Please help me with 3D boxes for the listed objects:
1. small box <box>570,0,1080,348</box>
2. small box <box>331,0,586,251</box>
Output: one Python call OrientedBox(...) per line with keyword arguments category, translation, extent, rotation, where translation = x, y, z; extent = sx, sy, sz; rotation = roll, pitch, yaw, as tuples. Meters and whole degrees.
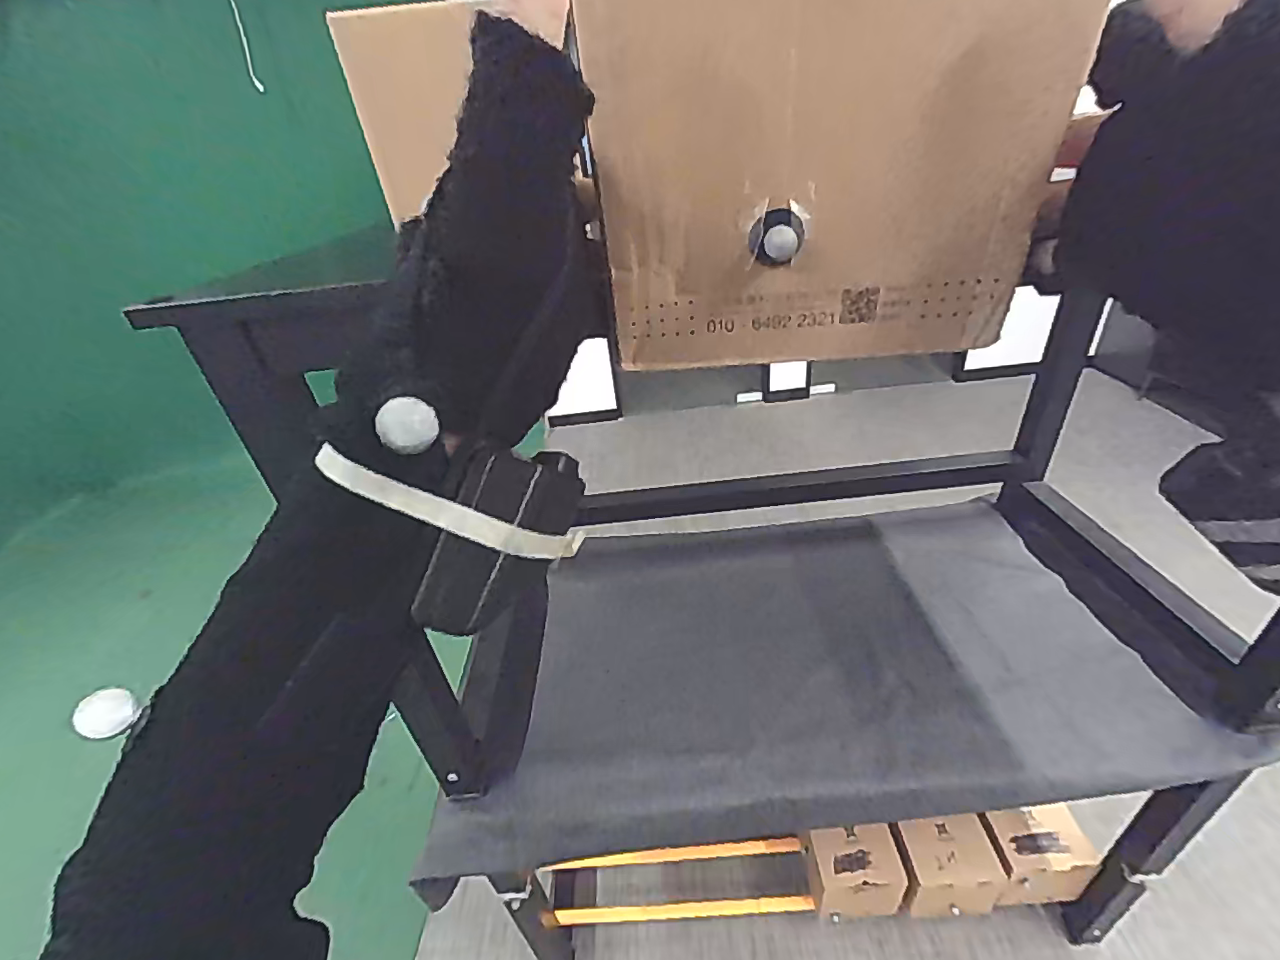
OrientedBox(category="small box", translation=(0.063, -0.177, 0.258), extent=(0.168, 0.176, 0.179), rotation=(-3, 39, 5))
OrientedBox(category="small box", translation=(-0.153, -0.324, 0.510), extent=(0.168, 0.176, 0.179), rotation=(-13, 33, -7))
